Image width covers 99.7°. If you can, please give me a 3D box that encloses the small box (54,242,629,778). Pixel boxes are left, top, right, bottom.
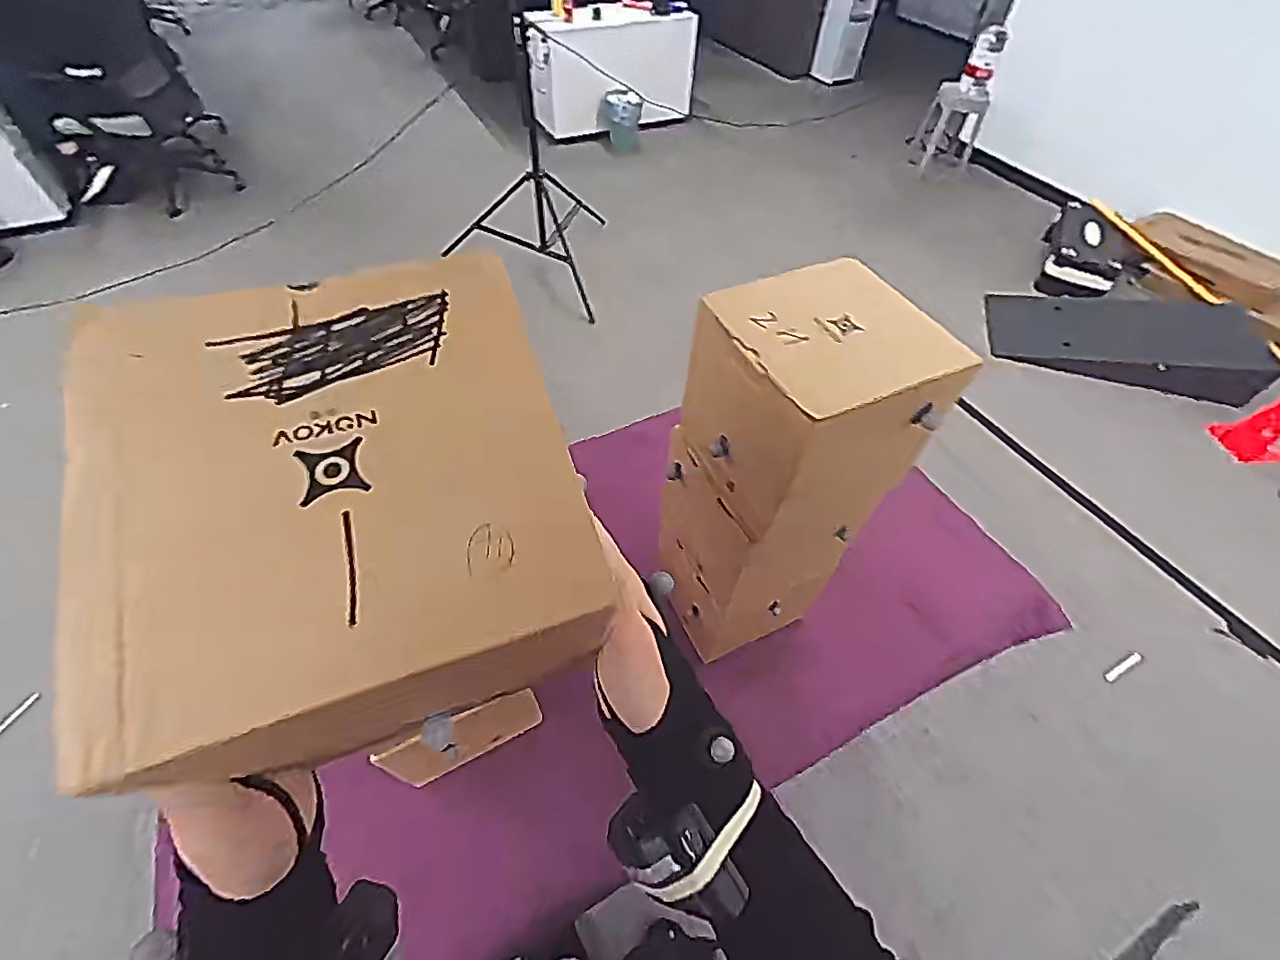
[{"bbox_3d":[-0.117,0.020,0.266,0.168,0.176,0.179,-15,70,-14],"label":"small box"}]

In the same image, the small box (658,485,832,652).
[{"bbox_3d":[0.135,0.119,0.774,0.179,0.176,0.168,-20,56,-18],"label":"small box"}]

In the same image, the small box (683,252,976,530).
[{"bbox_3d":[0.157,-0.082,0.514,0.179,0.176,0.168,-21,56,-17],"label":"small box"}]

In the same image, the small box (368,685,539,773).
[{"bbox_3d":[-0.237,0.236,0.668,0.168,0.176,0.179,-23,56,-18],"label":"small box"}]
